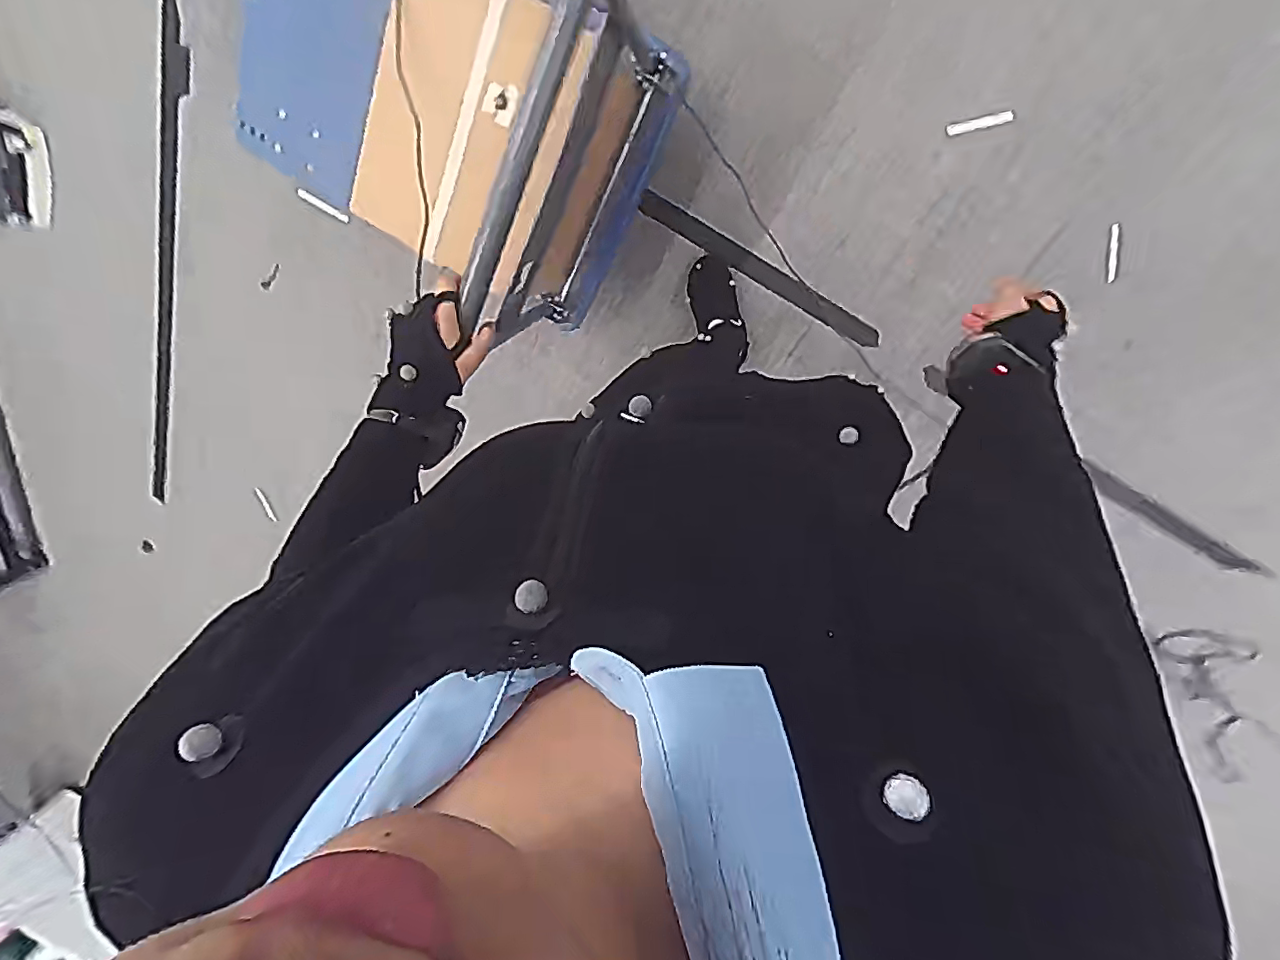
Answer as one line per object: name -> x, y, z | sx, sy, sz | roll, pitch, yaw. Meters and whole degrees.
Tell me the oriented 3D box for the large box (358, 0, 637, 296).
large box -> -0.248, -0.605, 0.991 | 0.320, 0.320, 0.408 | 28, 117, -3
